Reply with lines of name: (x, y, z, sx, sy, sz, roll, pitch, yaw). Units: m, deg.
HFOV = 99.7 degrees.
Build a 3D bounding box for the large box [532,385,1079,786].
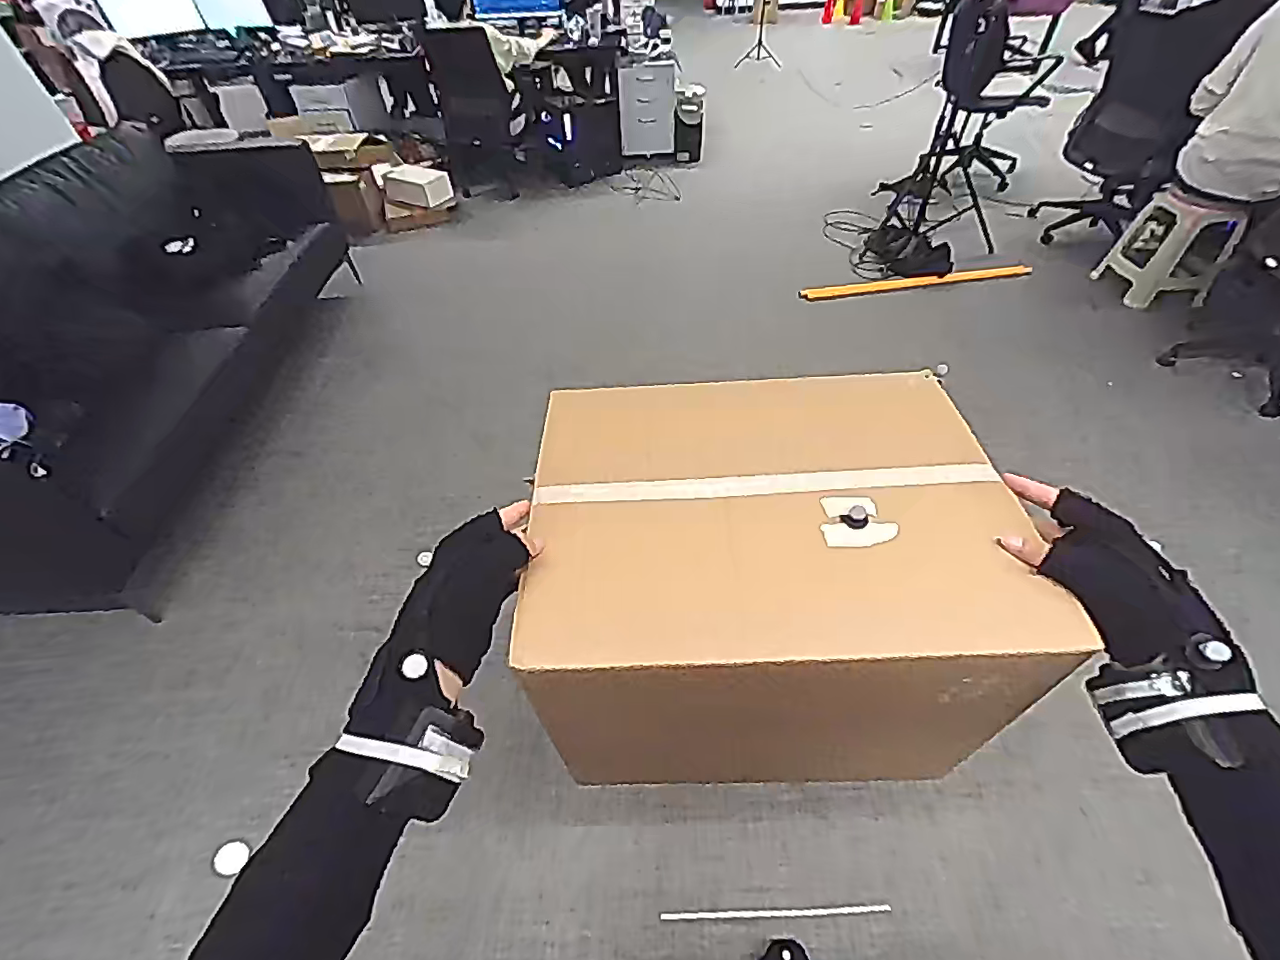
large box: (0.119, 0.119, 0.595, 0.408, 0.320, 0.320, -3, 47, 1)
